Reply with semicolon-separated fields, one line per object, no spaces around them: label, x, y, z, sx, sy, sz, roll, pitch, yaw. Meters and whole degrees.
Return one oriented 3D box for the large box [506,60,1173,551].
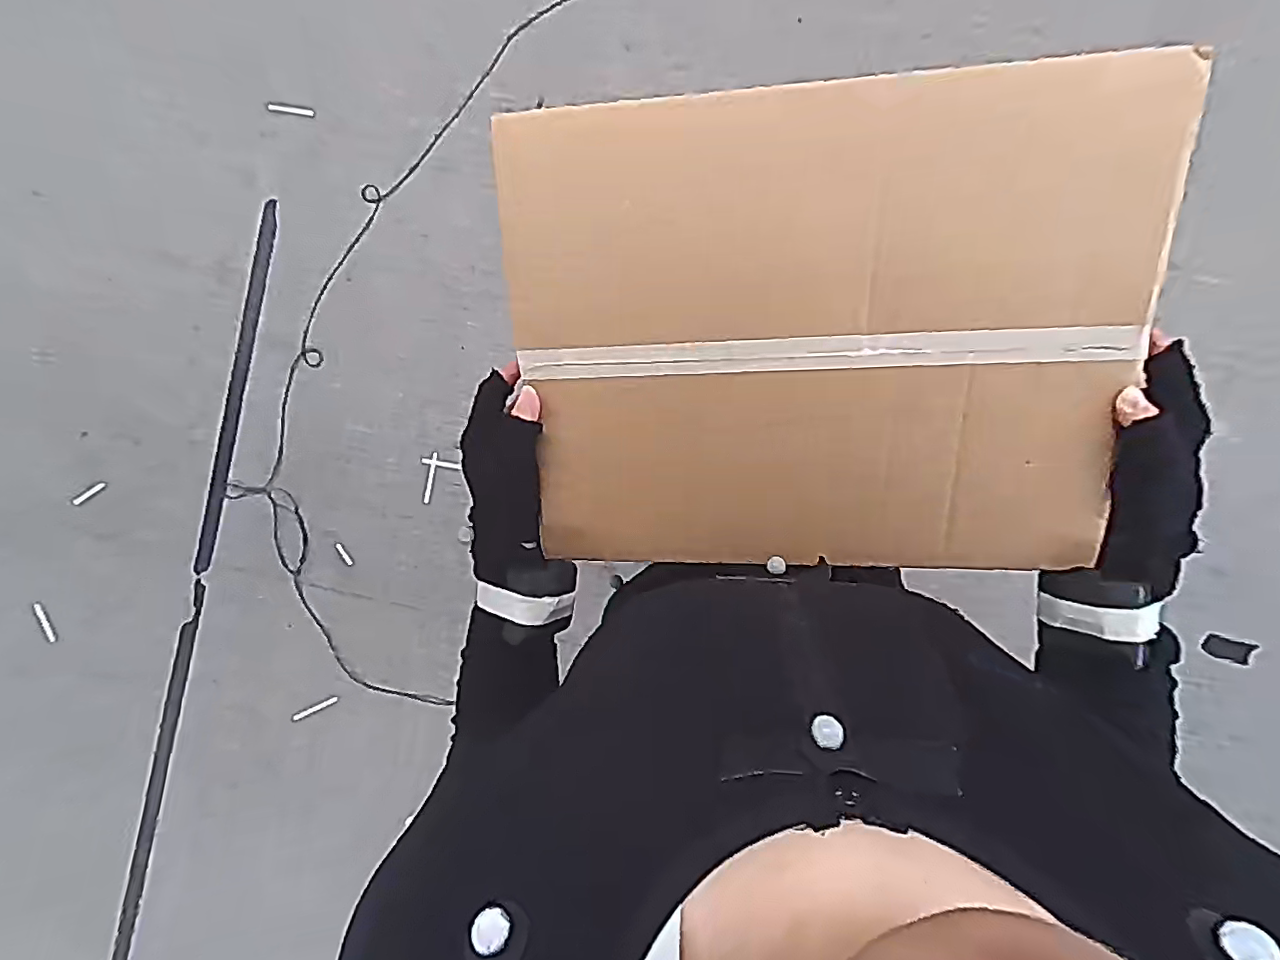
large box;0.131;-0.137;0.518;0.408;0.320;0.320;0;110;7
